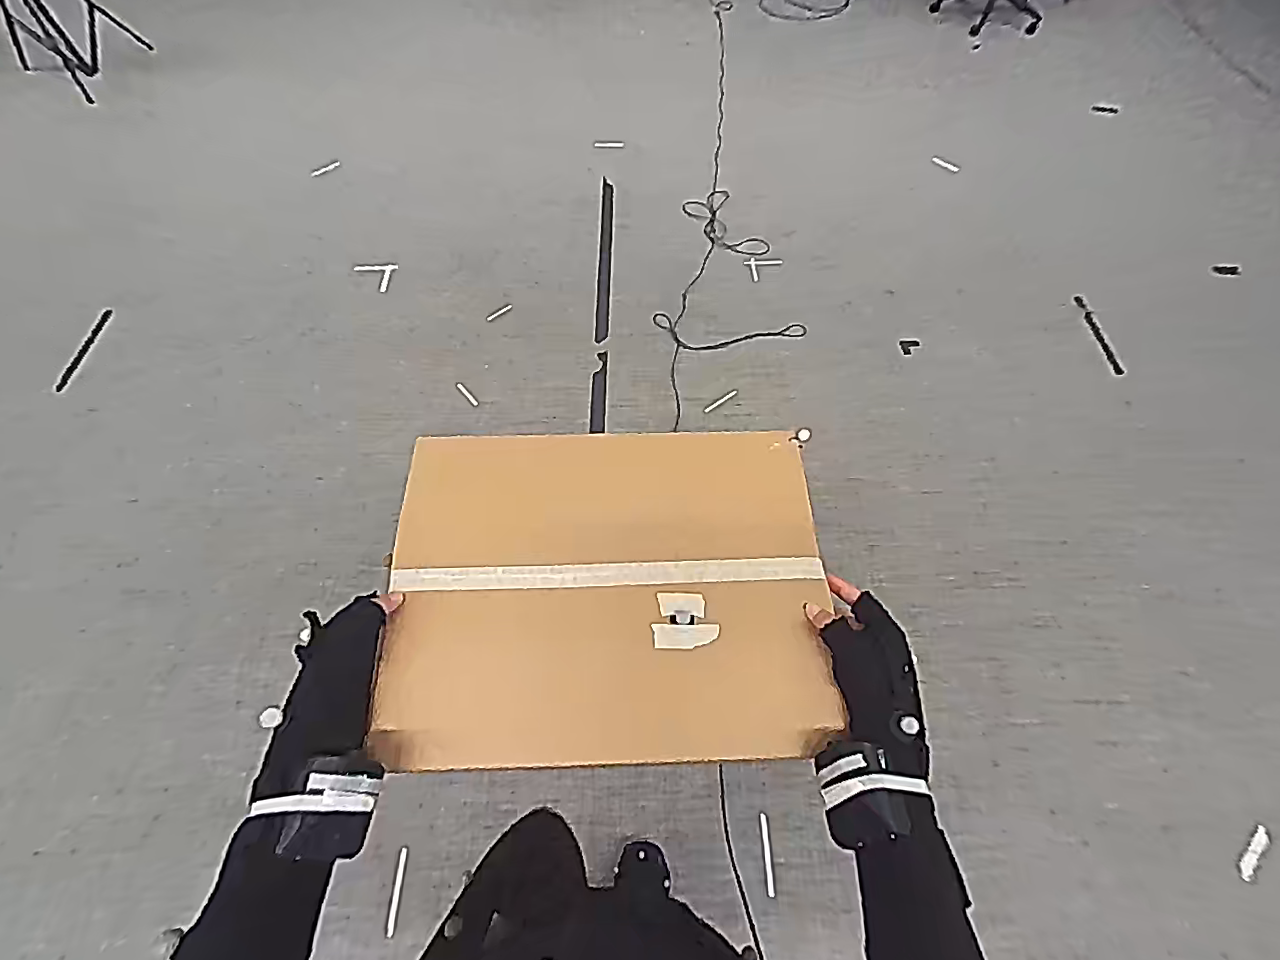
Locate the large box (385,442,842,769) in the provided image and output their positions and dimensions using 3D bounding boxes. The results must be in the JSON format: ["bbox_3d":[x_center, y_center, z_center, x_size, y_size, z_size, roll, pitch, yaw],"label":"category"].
[{"bbox_3d":[-0.031,0.167,0.662,0.408,0.320,0.320,-1,63,-2],"label":"large box"}]
